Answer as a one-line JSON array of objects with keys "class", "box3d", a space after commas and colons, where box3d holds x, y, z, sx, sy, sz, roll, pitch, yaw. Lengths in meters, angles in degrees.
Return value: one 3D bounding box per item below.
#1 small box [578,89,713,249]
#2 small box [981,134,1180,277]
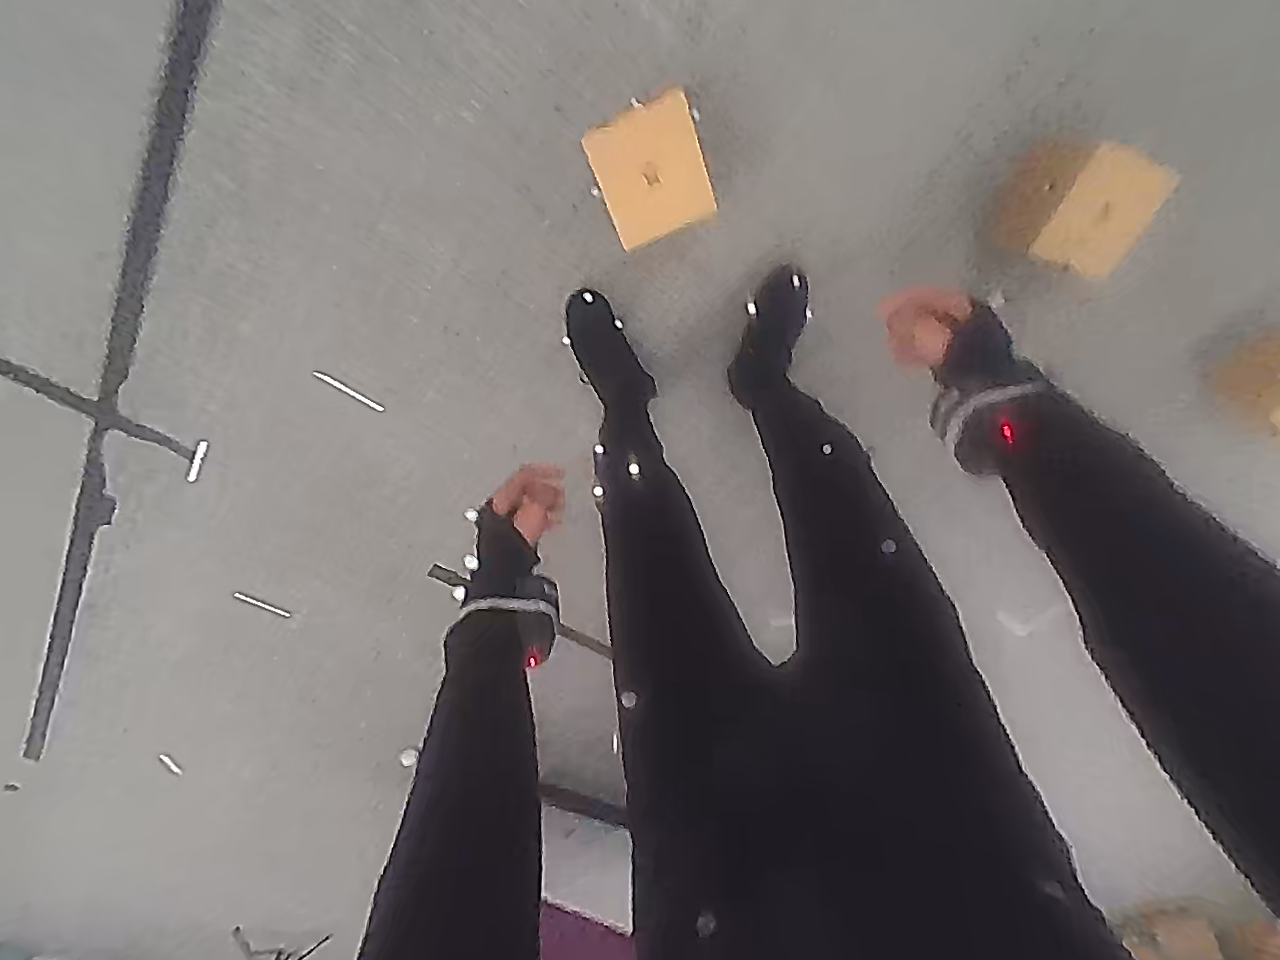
[{"class": "small box", "box3d": [0.013, -0.518, 0.899, 0.168, 0.176, 0.179, -19, 123, 12]}, {"class": "small box", "box3d": [0.753, -0.487, 0.951, 0.168, 0.176, 0.179, 14, 123, -11]}]
